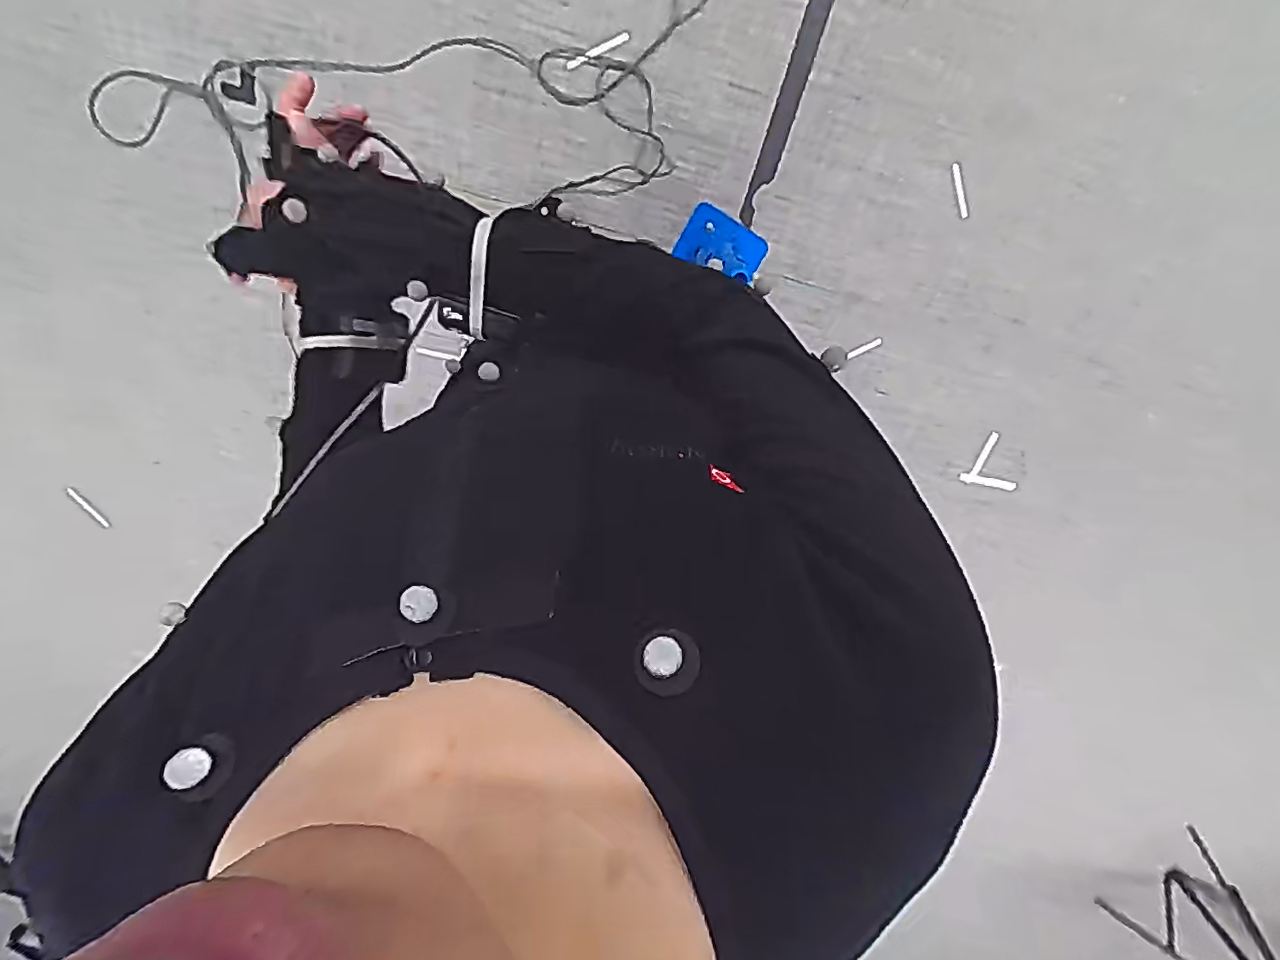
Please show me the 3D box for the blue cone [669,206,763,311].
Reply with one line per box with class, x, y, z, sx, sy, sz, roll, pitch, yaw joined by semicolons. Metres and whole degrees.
blue cone;0.185;-0.452;1.147;0.192;0.380;0.193;28;113;-15
